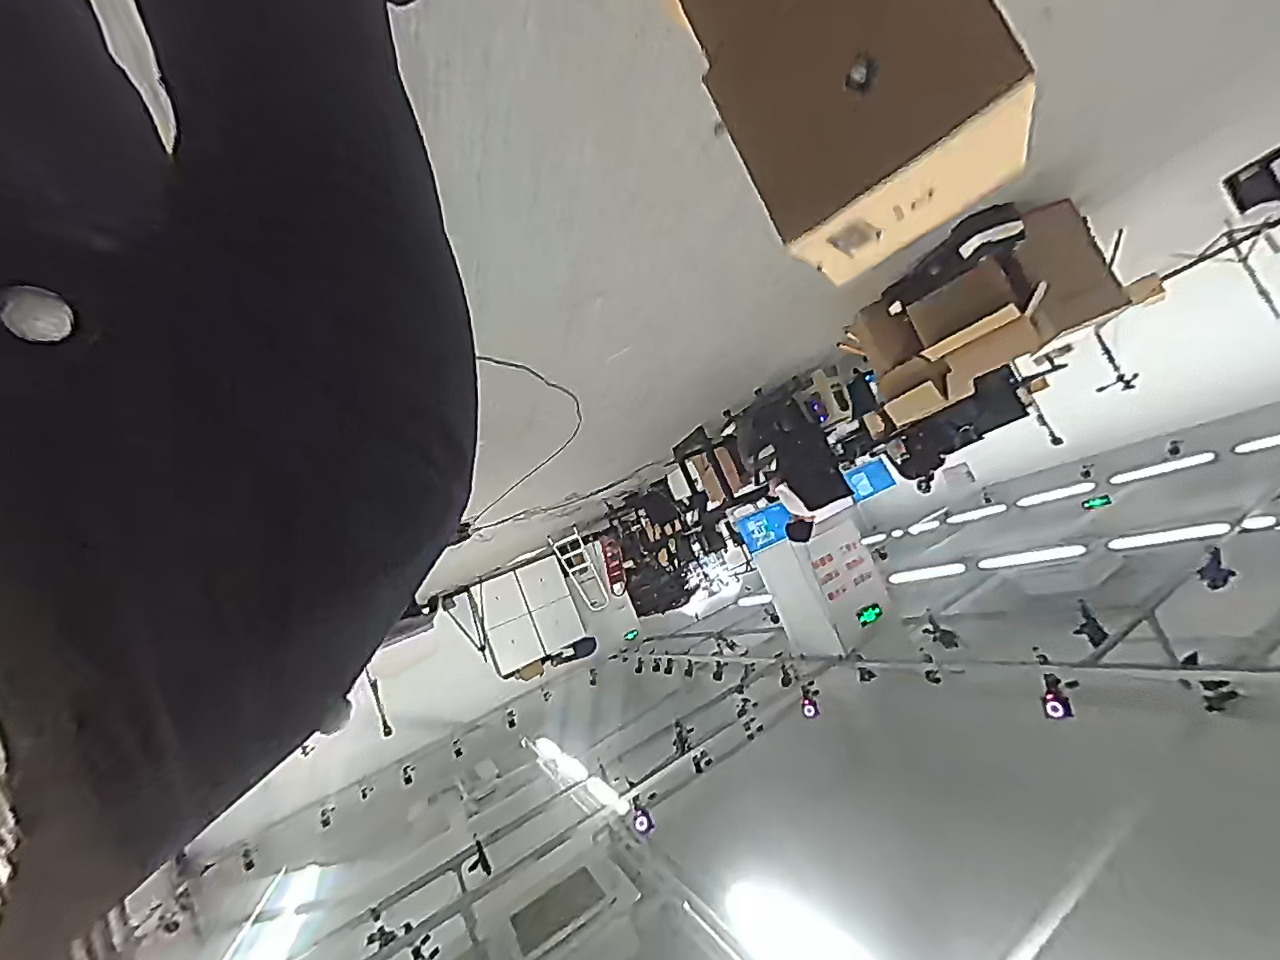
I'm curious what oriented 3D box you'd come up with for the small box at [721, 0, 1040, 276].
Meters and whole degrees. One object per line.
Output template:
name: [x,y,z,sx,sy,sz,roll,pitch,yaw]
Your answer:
small box: [0.187,-0.306,0.446,0.179,0.176,0.168,-30,171,33]
